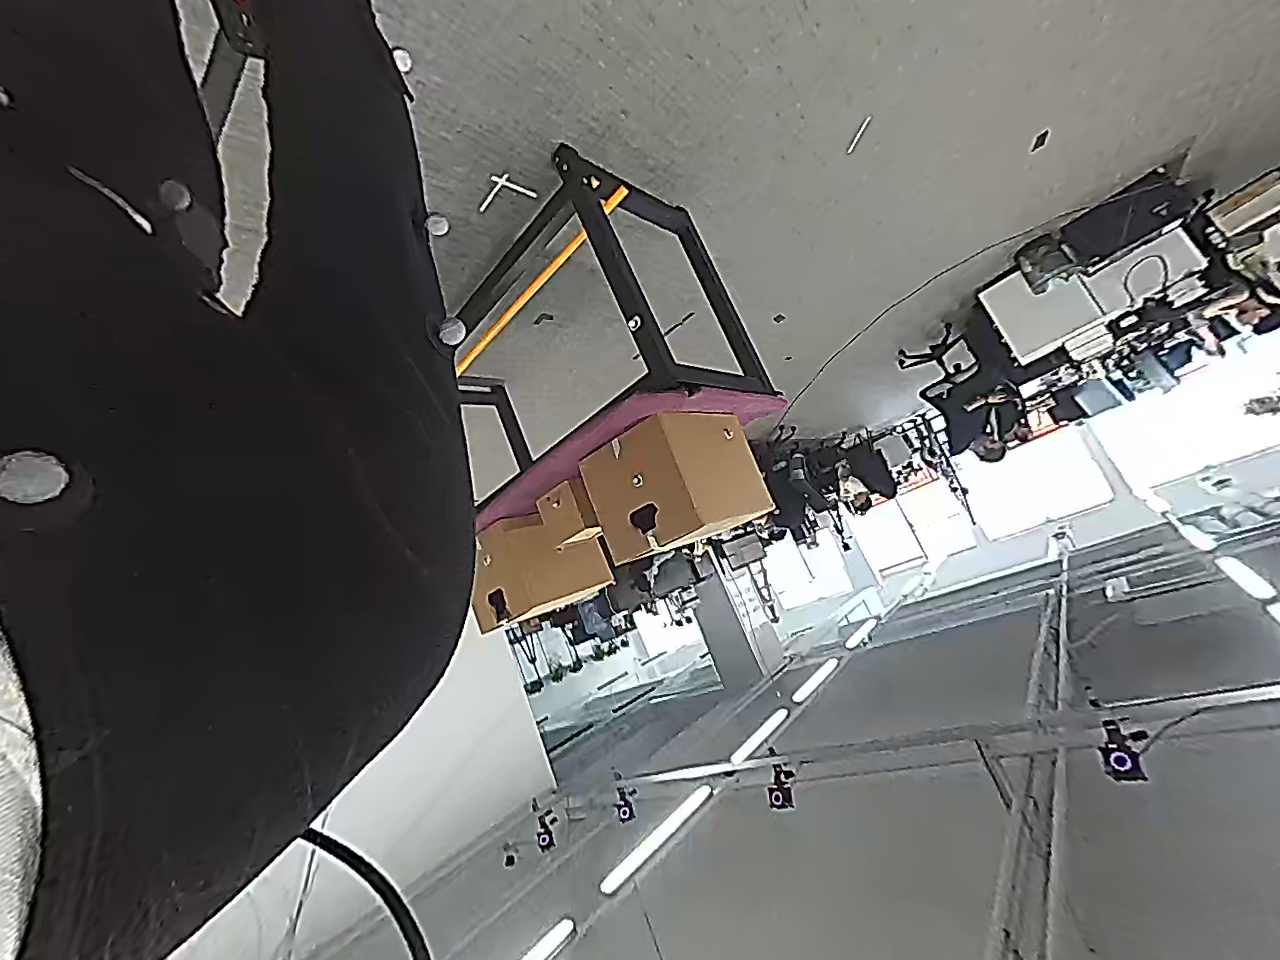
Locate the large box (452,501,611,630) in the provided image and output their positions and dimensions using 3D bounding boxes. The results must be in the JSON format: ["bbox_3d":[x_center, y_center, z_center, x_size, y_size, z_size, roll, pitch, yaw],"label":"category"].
[{"bbox_3d":[-0.390,0.295,1.941,0.320,0.320,0.408,-31,167,36],"label":"large box"}]
